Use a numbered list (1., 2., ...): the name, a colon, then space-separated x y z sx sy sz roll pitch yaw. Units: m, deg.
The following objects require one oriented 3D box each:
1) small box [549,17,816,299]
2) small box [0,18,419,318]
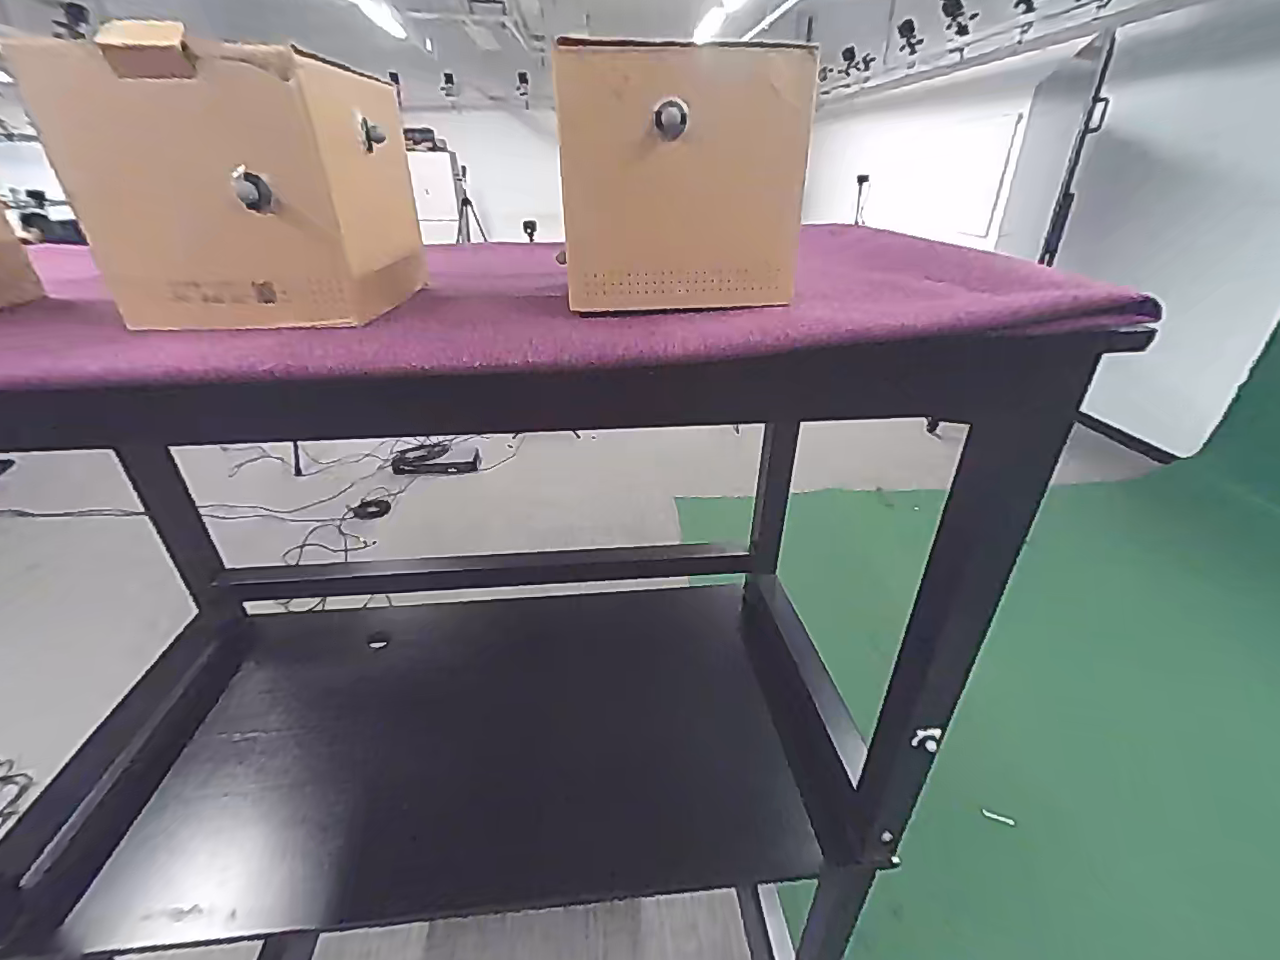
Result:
1. small box: 0.024 -0.248 0.446 0.179 0.176 0.168 -3 28 -5
2. small box: -0.286 -0.225 0.415 0.168 0.176 0.179 -1 29 -4
